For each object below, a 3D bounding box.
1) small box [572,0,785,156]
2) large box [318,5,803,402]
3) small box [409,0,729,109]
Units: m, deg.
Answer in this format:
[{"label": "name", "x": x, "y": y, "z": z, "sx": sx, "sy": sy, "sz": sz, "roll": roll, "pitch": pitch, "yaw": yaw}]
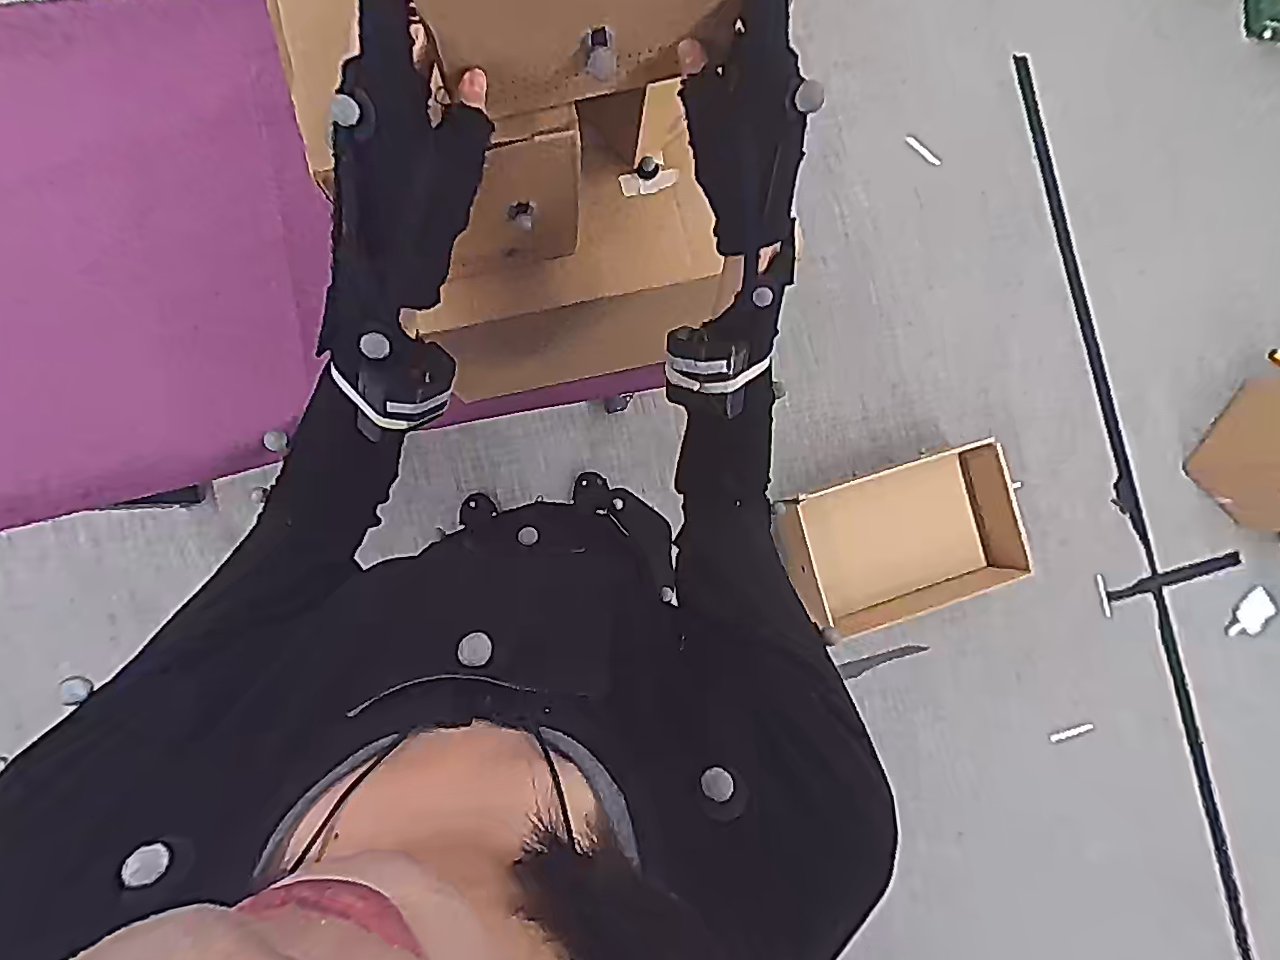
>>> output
[{"label": "small box", "x": 0.006, "y": -0.410, "z": 0.424, "sx": 0.168, "sy": 0.176, "sz": 0.179, "roll": -42, "pitch": 92, "yaw": -6}, {"label": "large box", "x": -0.083, "y": -0.312, "z": 0.656, "sx": 0.408, "sy": 0.320, "sz": 0.320, "roll": -14, "pitch": 90, "yaw": -7}, {"label": "small box", "x": -0.043, "y": -0.318, "z": 0.250, "sx": 0.179, "sy": 0.176, "sz": 0.168, "roll": -16, "pitch": 90, "yaw": -6}]
